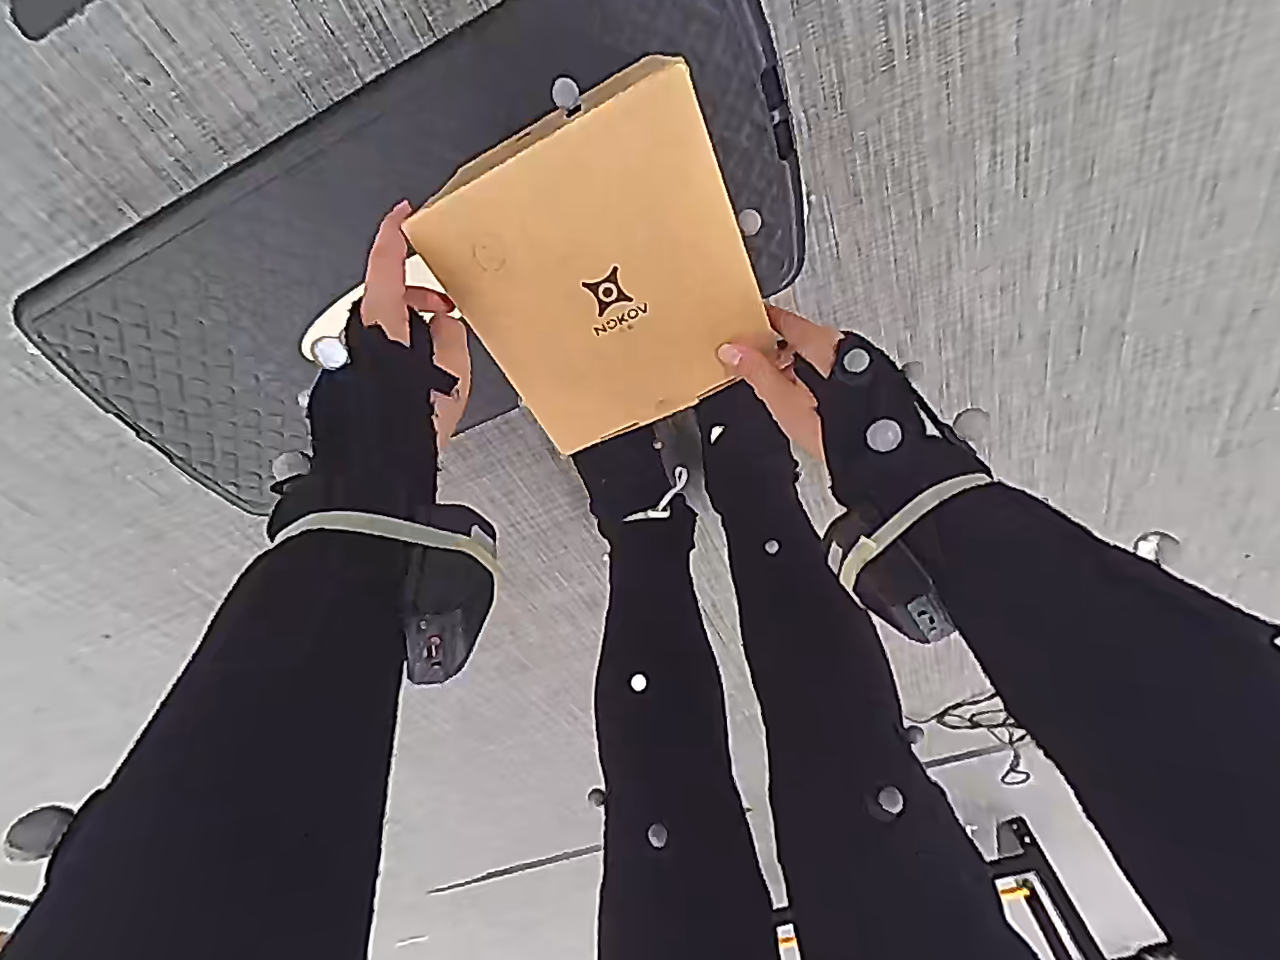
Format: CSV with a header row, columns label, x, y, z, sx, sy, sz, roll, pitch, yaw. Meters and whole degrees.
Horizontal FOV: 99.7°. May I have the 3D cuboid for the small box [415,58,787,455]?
label,x,y,z,sx,sy,sz,roll,pitch,yaw
small box,-0.020,-0.155,0.379,0.168,0.176,0.179,-23,128,12
